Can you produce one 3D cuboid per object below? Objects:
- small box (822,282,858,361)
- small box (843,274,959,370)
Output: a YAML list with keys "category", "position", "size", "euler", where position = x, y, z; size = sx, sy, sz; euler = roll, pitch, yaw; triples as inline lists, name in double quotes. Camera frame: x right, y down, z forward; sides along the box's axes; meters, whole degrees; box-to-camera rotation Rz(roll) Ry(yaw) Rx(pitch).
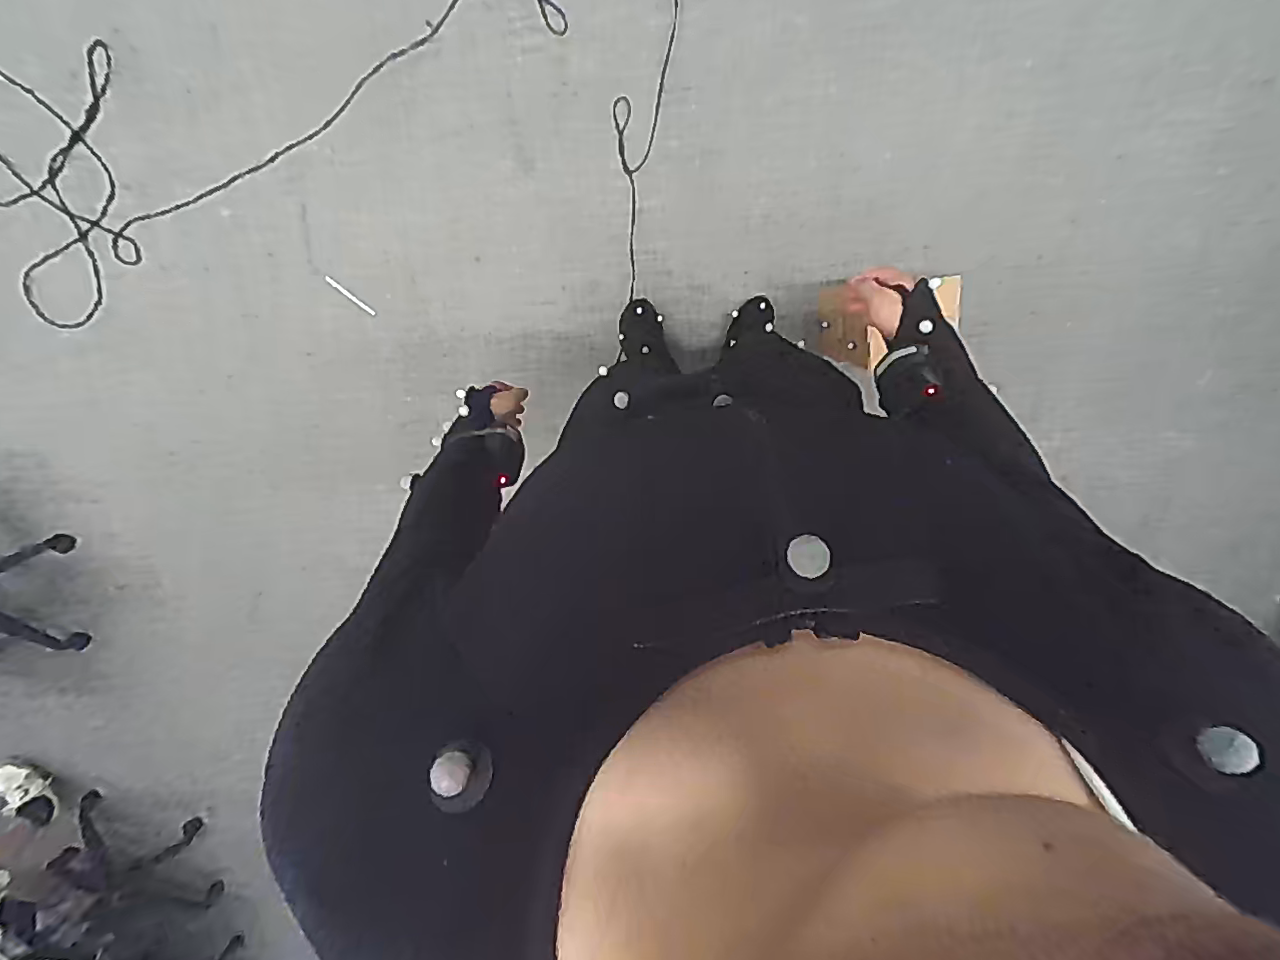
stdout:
- category: "small box"
  position: [0.545, -0.387, 1.302]
  size: [0.179, 0.176, 0.168]
  euler: [-6, 111, 4]
- category: "small box"
  position: [0.540, -0.338, 1.146]
  size: [0.179, 0.176, 0.168]
  euler: [-9, 112, 3]
